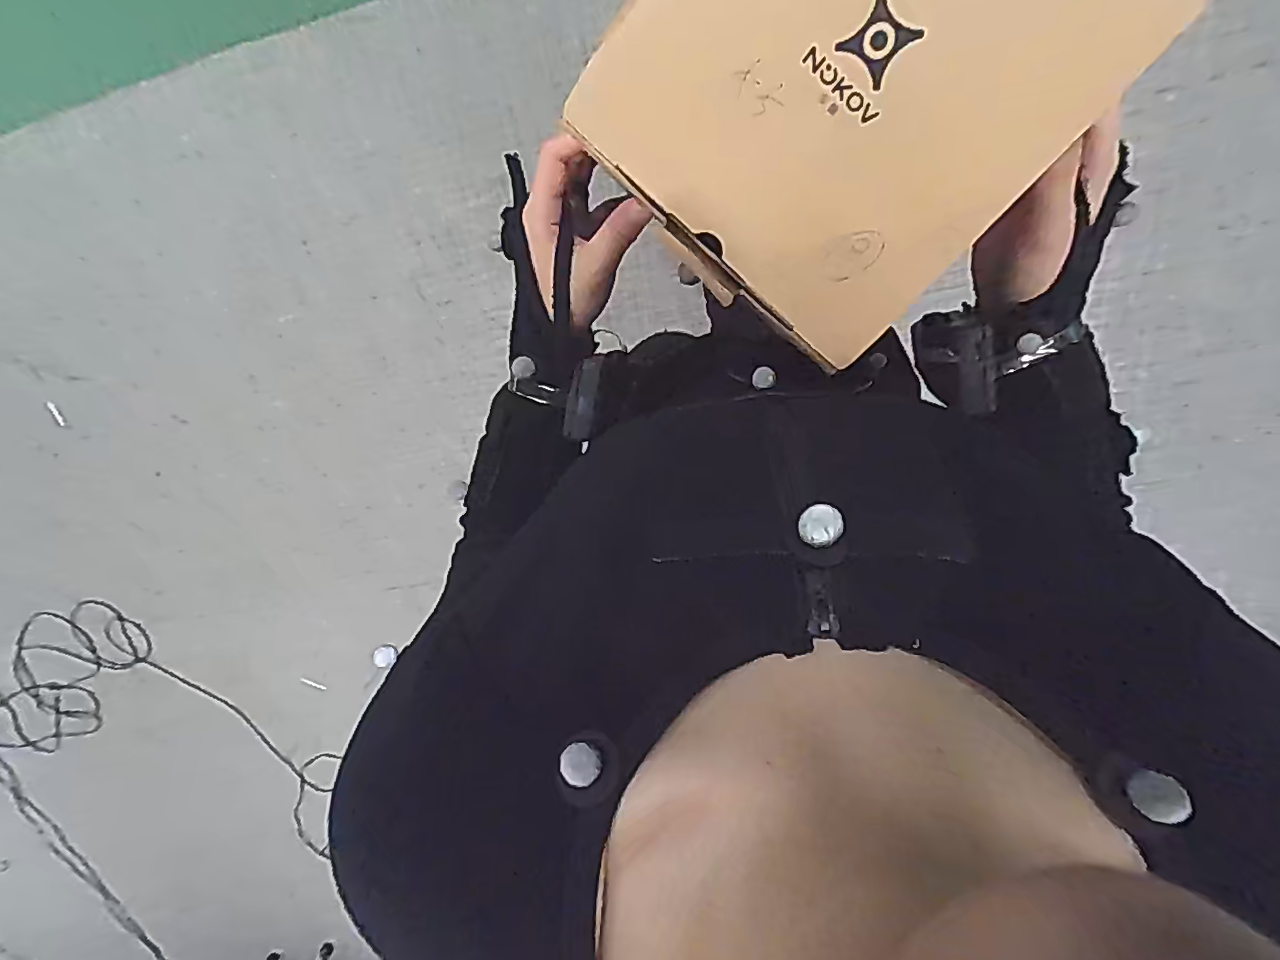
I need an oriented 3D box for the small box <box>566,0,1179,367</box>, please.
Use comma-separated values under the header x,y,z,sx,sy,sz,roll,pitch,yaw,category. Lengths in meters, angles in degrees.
x,y,z,sx,sy,sz,roll,pitch,yaw,category
0.091,-0.190,0.288,0.168,0.176,0.179,39,111,-9,small box
